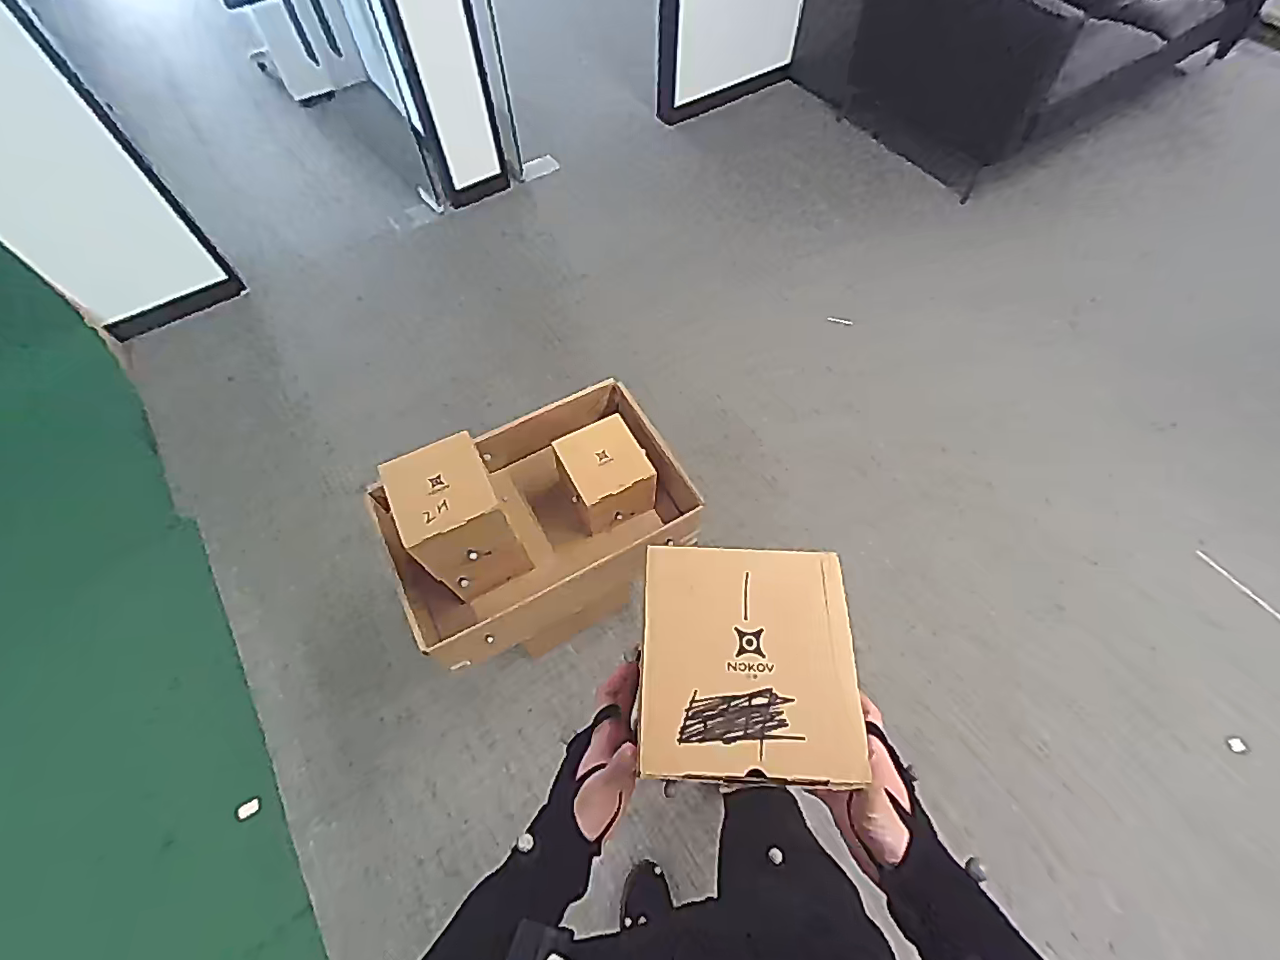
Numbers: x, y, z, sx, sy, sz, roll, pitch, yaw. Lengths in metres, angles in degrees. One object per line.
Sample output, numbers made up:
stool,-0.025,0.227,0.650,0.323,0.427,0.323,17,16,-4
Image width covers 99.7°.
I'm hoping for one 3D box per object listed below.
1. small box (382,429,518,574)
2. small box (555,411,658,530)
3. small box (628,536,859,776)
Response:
small box,-0.342,0.044,0.993,0.168,0.176,0.179,-25,65,-11
small box,-0.075,-0.017,1.211,0.168,0.176,0.179,-26,66,-13
small box,0.078,0.165,0.490,0.168,0.176,0.179,2,61,1
